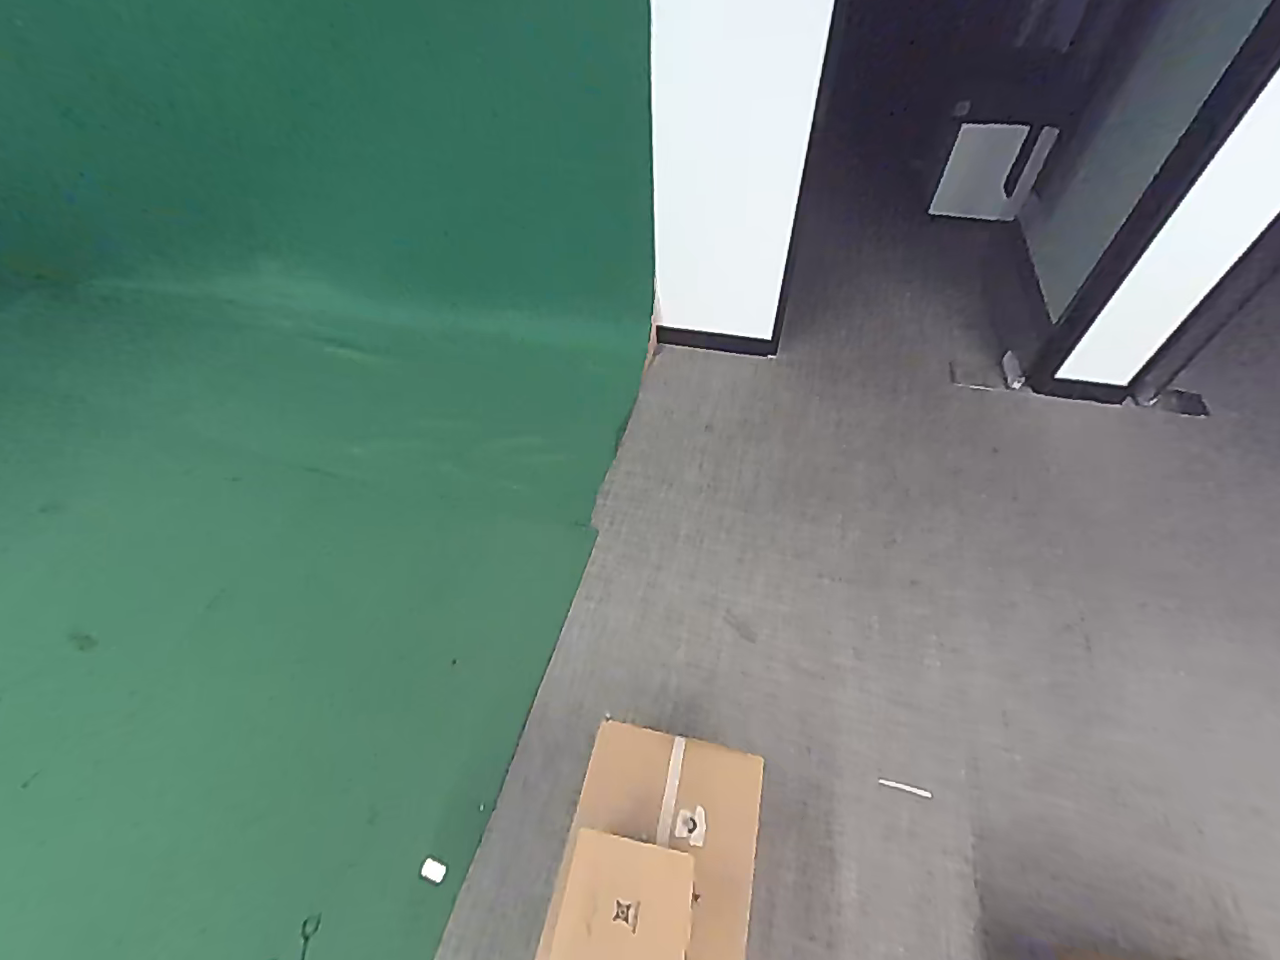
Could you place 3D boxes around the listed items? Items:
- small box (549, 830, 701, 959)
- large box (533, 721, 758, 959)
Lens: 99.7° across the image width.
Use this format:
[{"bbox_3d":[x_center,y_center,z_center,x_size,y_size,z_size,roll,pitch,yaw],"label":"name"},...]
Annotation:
[{"bbox_3d":[-0.013,0.630,0.779,0.179,0.176,0.168,8,51,11],"label":"small box"},{"bbox_3d":[0.032,0.733,1.008,0.320,0.320,0.408,10,52,11],"label":"large box"}]
